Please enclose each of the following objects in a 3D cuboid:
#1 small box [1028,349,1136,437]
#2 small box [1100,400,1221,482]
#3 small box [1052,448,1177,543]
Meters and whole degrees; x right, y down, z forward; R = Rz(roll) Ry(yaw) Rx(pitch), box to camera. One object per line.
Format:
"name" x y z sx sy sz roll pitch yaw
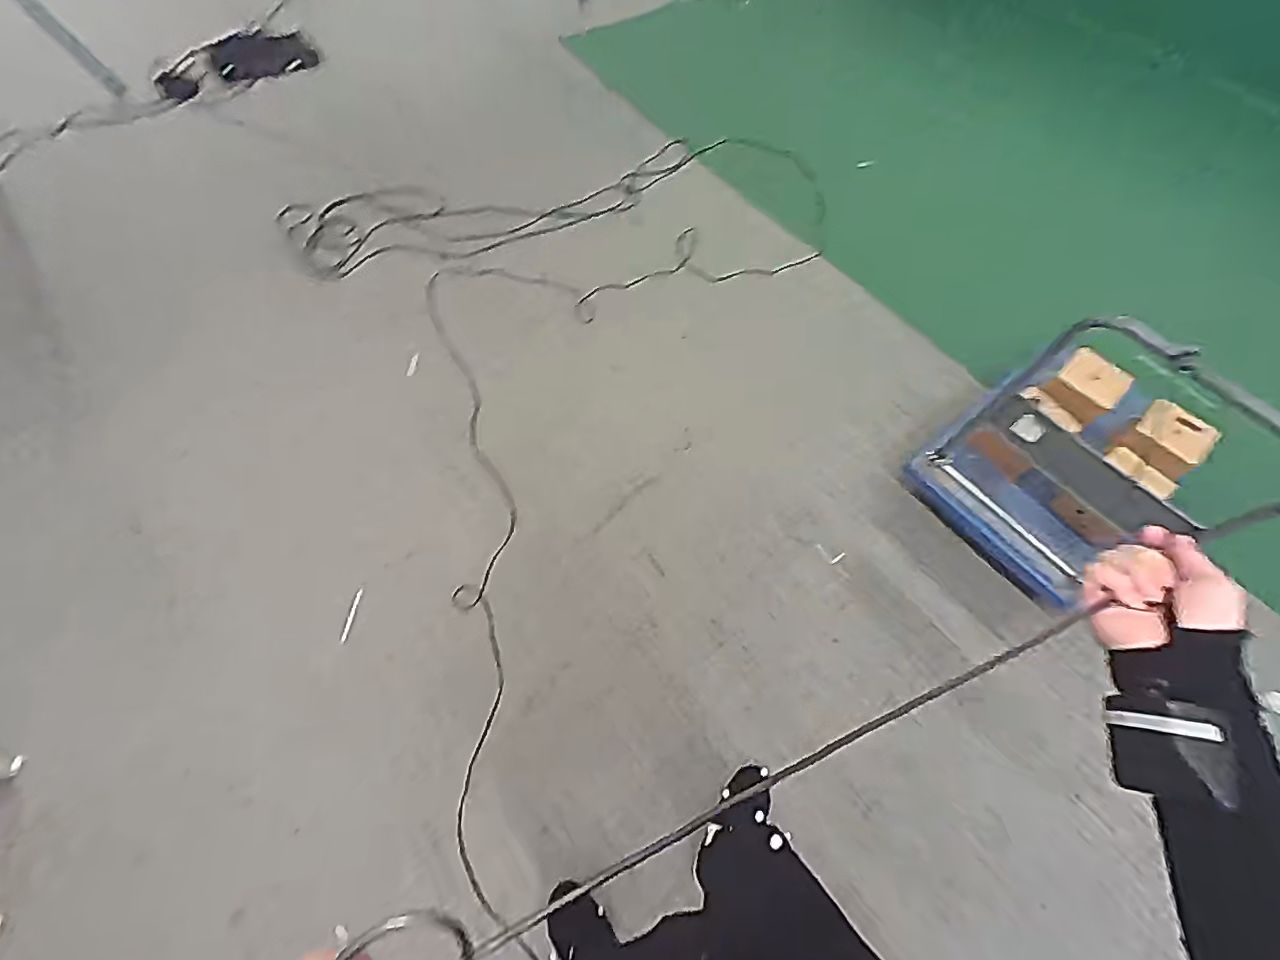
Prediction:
"small box" 1.362 -0.266 1.683 0.179 0.176 0.168 -38 71 -20
"small box" 1.531 -0.097 1.604 0.179 0.176 0.168 -38 70 -19
"small box" 1.319 0.046 1.518 0.179 0.176 0.168 -33 69 -18
